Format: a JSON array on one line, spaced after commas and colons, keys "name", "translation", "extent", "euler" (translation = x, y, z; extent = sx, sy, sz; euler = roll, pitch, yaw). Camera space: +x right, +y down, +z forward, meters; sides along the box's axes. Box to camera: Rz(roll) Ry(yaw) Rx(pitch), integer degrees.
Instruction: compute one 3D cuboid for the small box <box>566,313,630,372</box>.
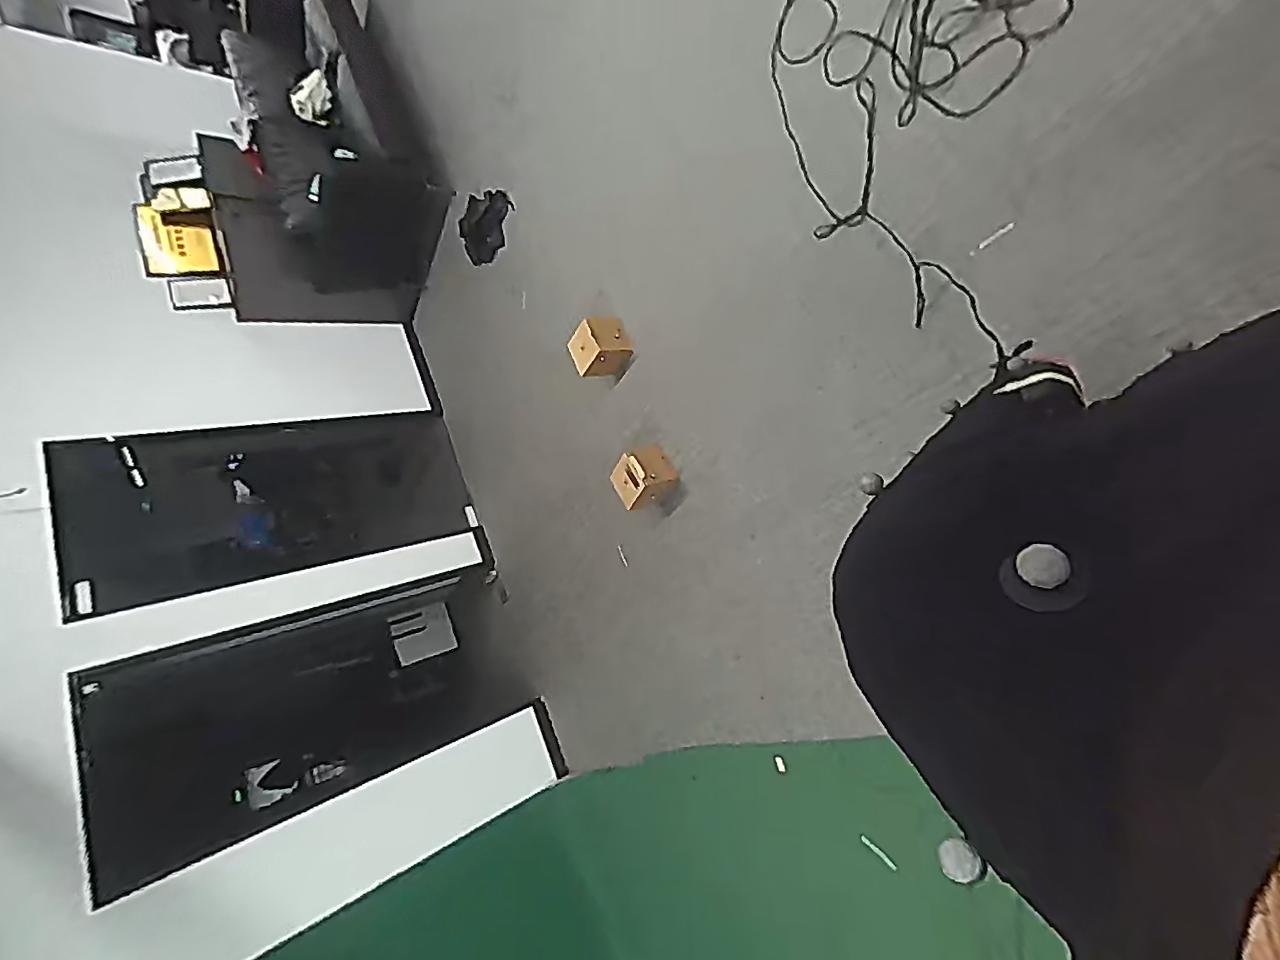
[{"name": "small box", "translation": [-0.170, -0.555, 2.200], "extent": [0.179, 0.176, 0.168], "euler": [-42, 66, 47]}]
